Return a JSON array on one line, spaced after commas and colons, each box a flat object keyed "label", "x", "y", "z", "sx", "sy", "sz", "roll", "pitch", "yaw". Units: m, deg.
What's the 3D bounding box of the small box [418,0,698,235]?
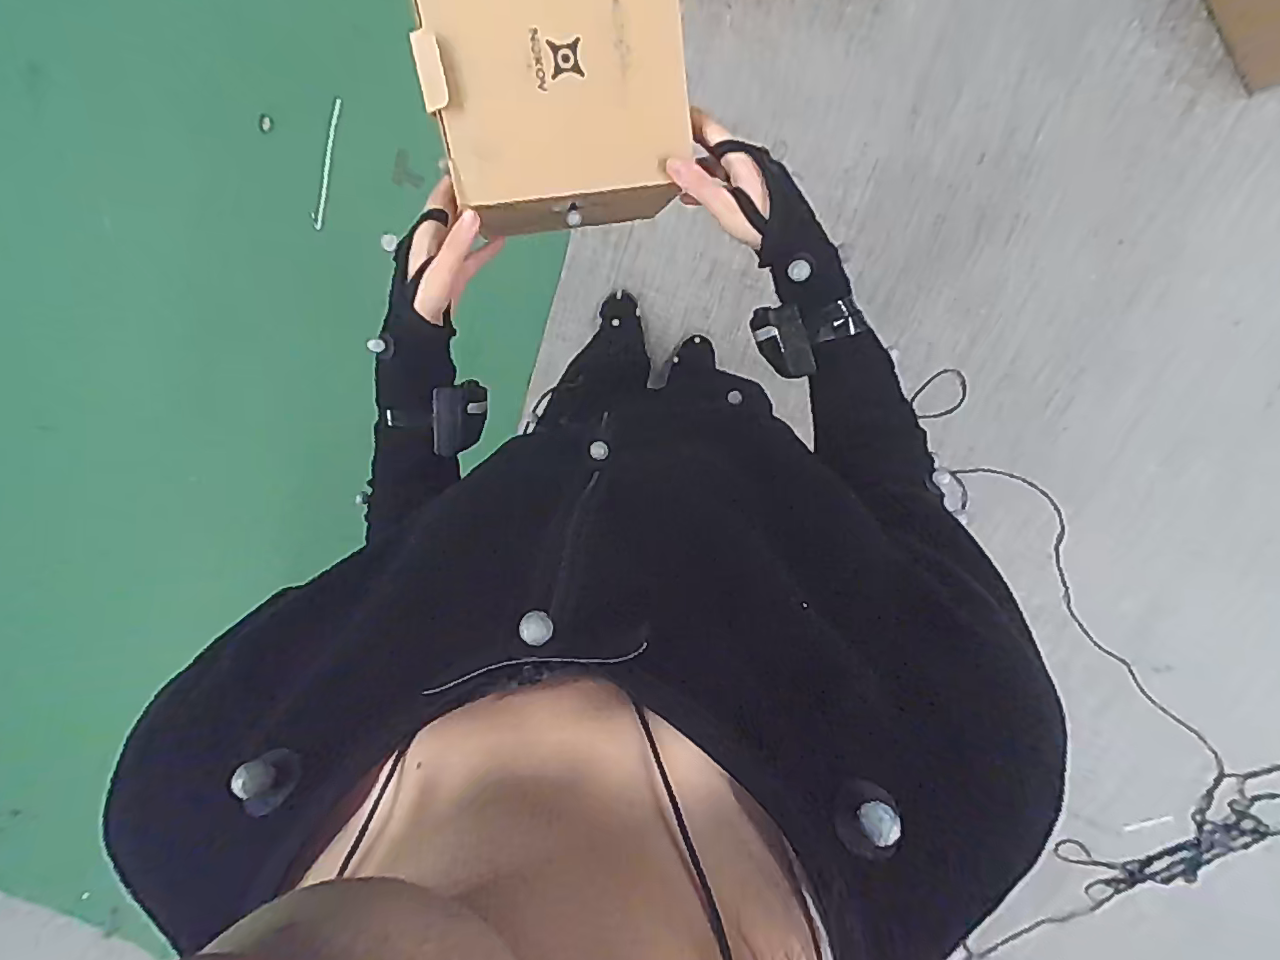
[{"label": "small box", "x": -0.064, "y": -0.306, "z": 0.439, "sx": 0.179, "sy": 0.176, "sz": 0.168, "roll": -10, "pitch": 108, "yaw": -7}]
